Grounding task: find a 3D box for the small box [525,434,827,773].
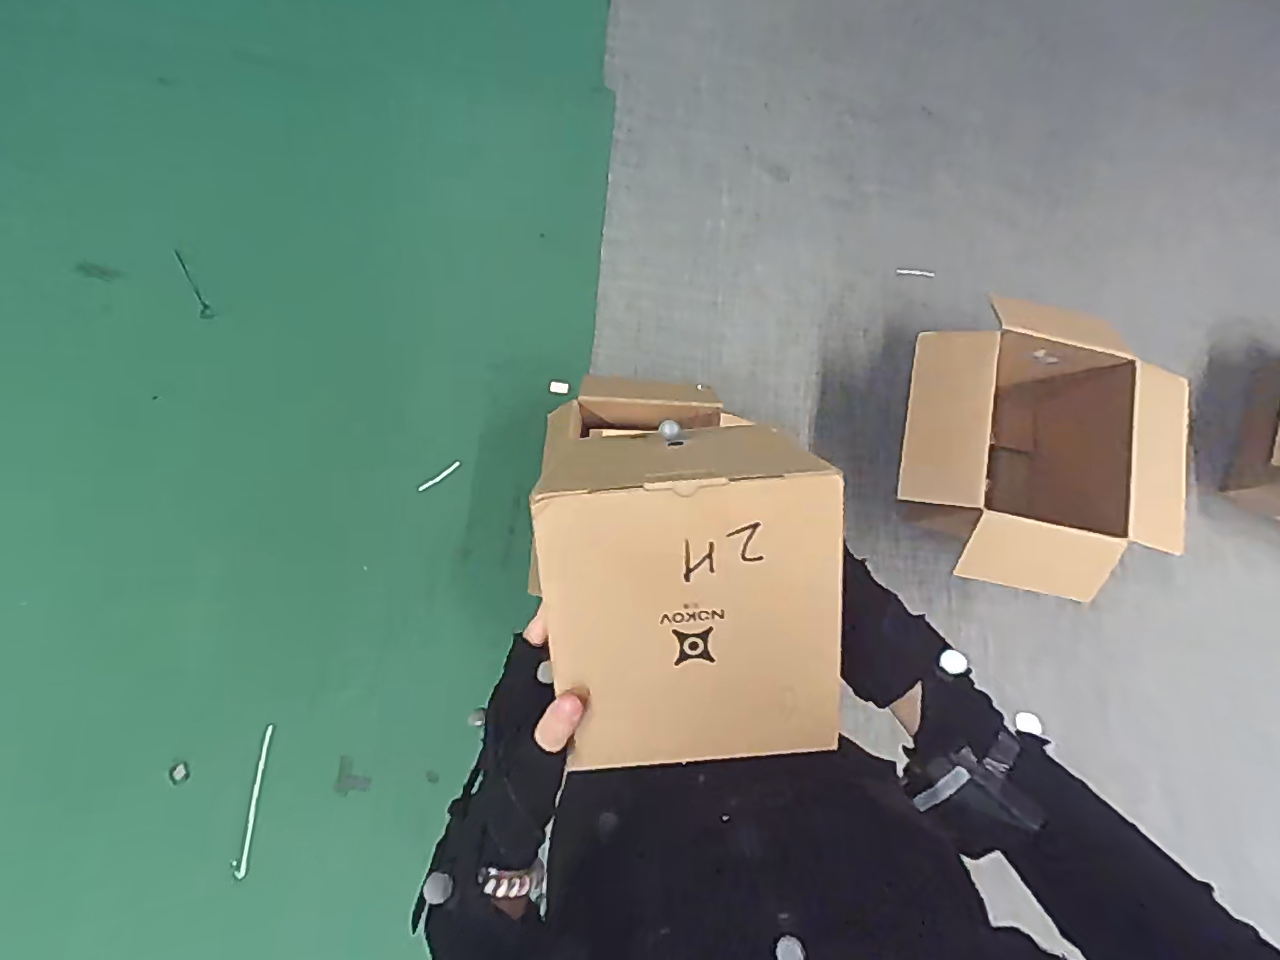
[{"bbox_3d":[0.023,0.070,0.387,0.168,0.176,0.179,-5,102,-1],"label":"small box"}]
